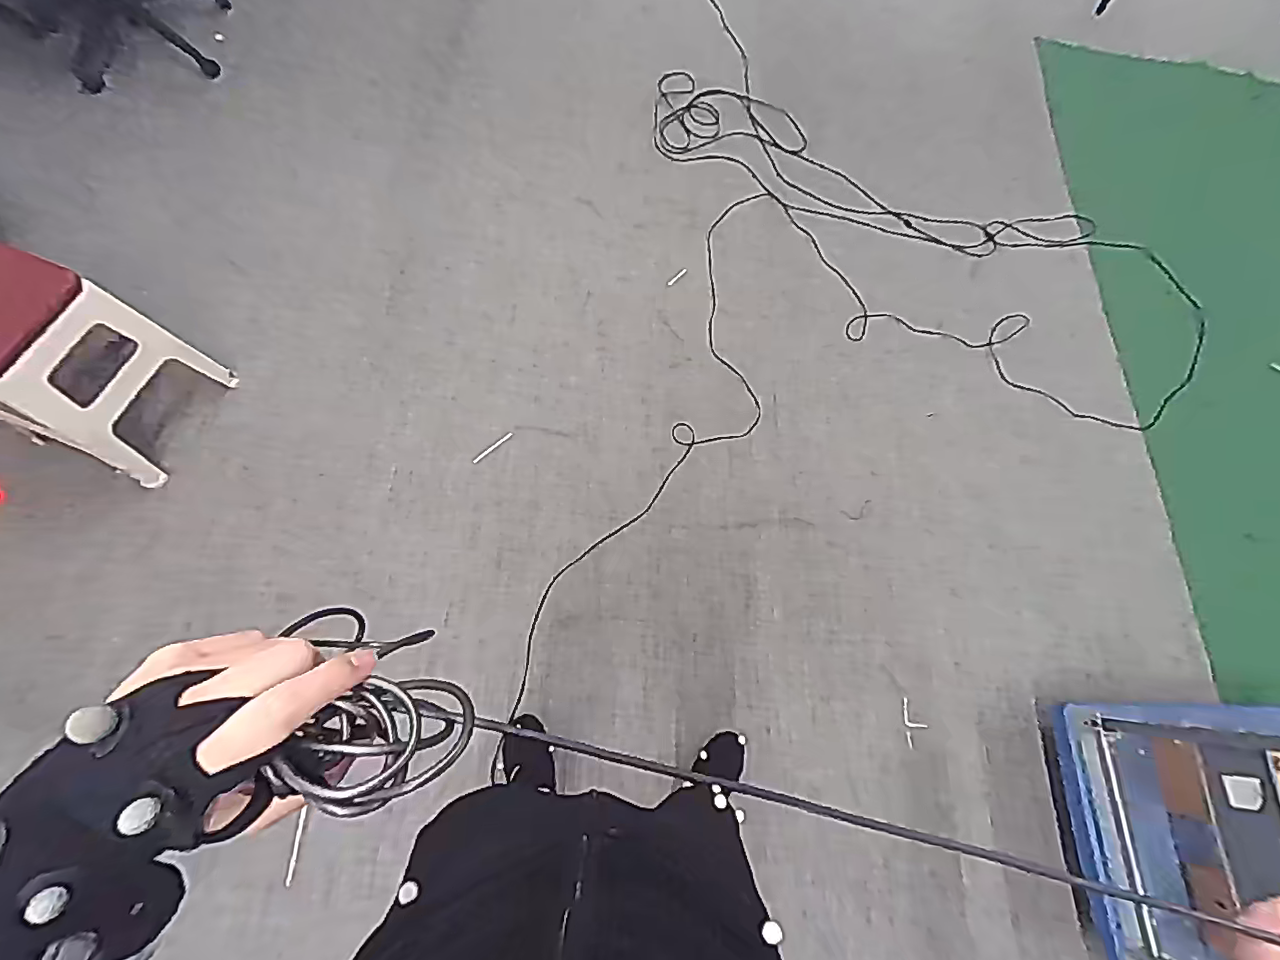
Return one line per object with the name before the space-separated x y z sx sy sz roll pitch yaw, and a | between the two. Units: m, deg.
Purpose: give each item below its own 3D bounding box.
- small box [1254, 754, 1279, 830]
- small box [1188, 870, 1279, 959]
small box | 1.624 0.748 1.273 0.179 0.176 0.168 1 71 -6
small box | 1.364 0.966 1.166 0.179 0.176 0.168 5 70 -3
